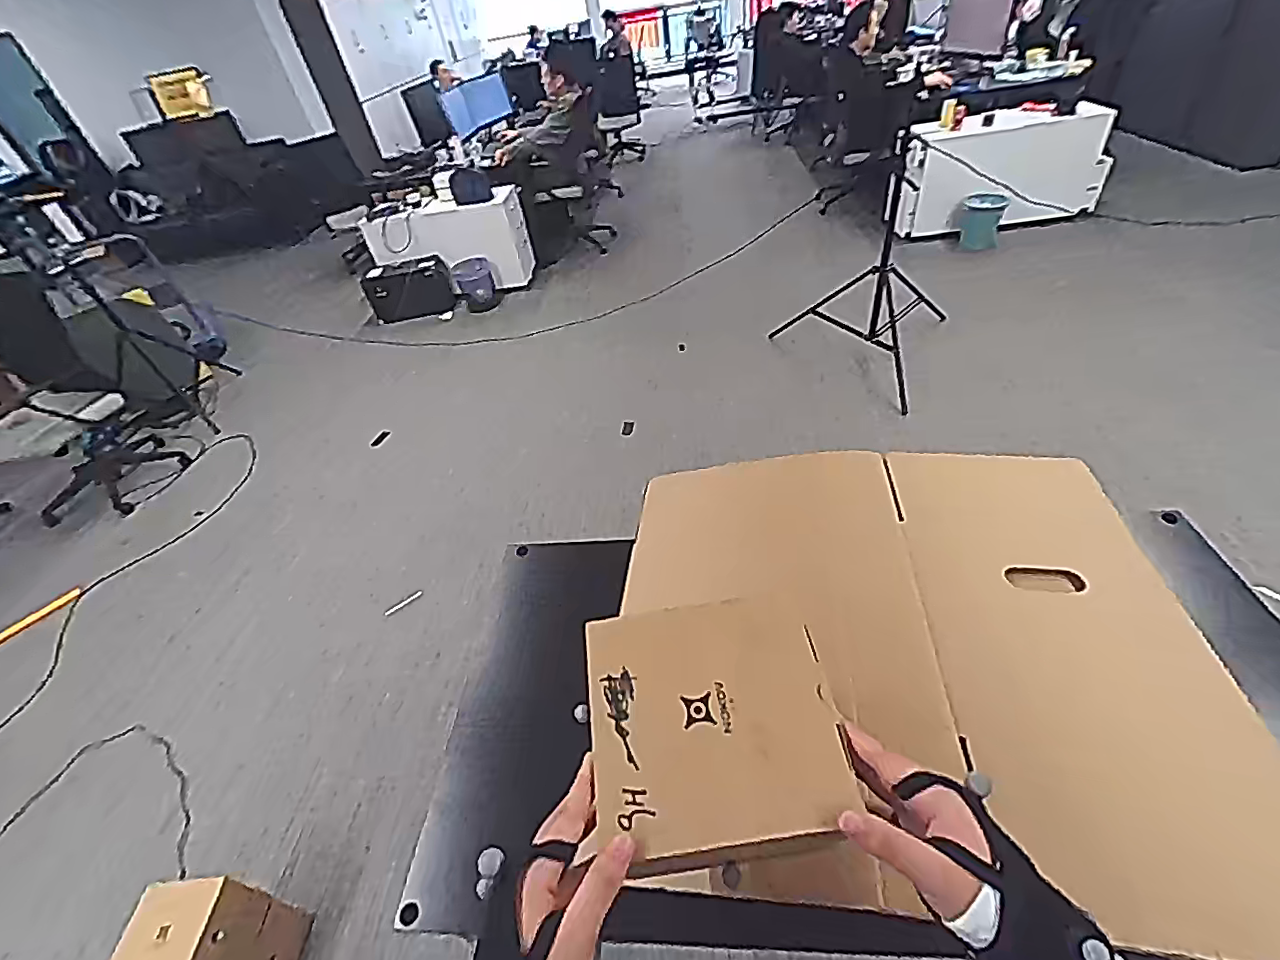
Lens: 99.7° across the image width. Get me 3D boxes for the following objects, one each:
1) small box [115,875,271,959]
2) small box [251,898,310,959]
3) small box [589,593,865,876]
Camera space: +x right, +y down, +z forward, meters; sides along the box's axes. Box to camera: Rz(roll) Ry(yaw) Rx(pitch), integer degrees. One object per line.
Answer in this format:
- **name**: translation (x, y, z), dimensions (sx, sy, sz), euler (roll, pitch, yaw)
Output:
- **small box**: translation (-0.893, 0.926, 1.086), dimensions (0.168, 0.176, 0.179), euler (-8, 41, 2)
- **small box**: translation (-0.870, 1.049, 1.190), dimensions (0.168, 0.176, 0.179), euler (-7, 43, 5)
- **small box**: translation (0.057, 0.218, 0.457), dimensions (0.179, 0.176, 0.168), euler (-8, 49, -2)
